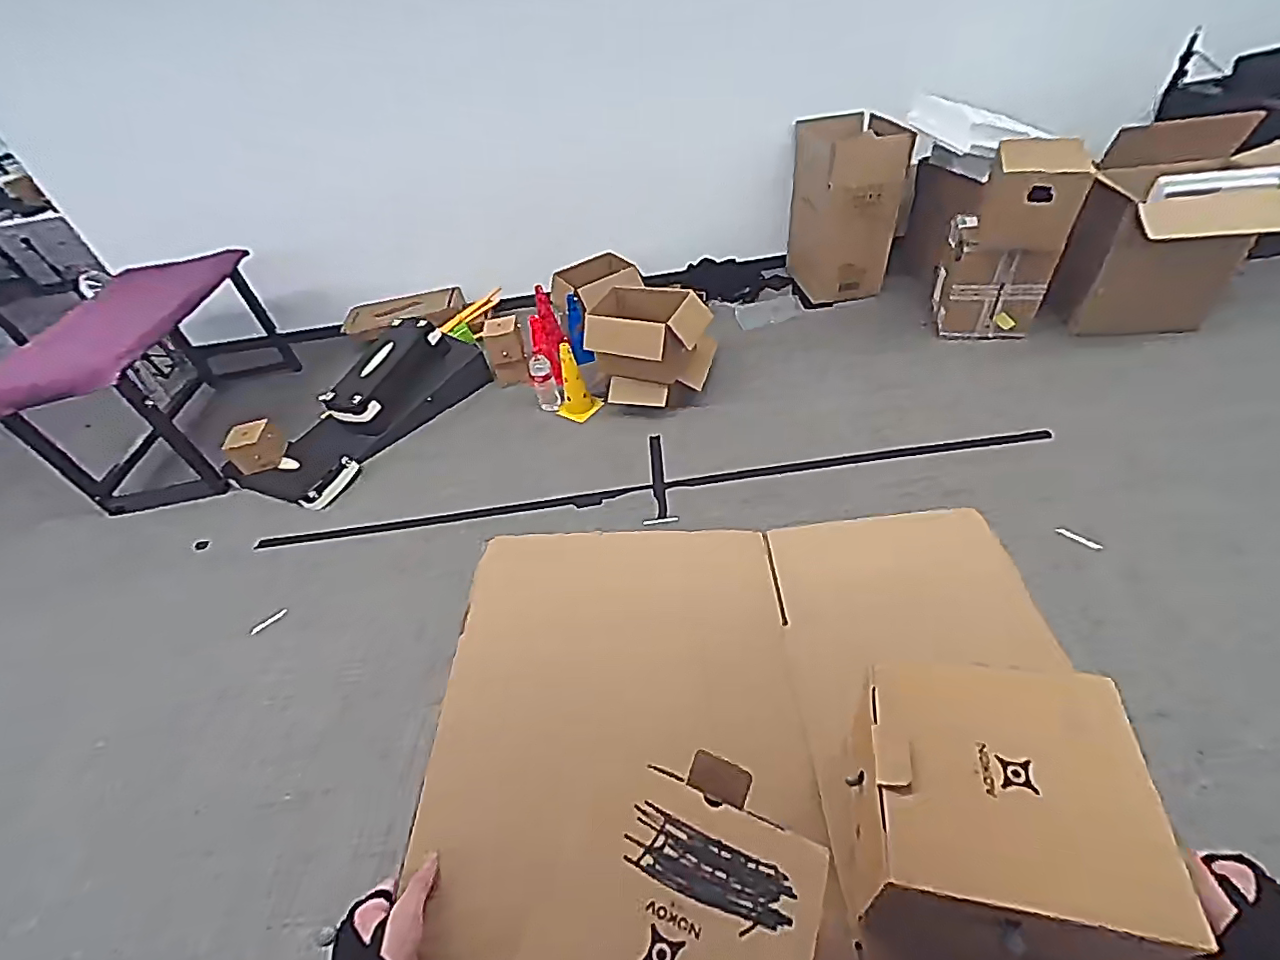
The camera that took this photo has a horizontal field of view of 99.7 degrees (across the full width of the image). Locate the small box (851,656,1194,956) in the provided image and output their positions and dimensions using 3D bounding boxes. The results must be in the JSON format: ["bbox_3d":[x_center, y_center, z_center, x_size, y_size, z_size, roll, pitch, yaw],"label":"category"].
[{"bbox_3d":[0.279,0.269,0.451,0.179,0.176,0.168,1,46,17],"label":"small box"}]
